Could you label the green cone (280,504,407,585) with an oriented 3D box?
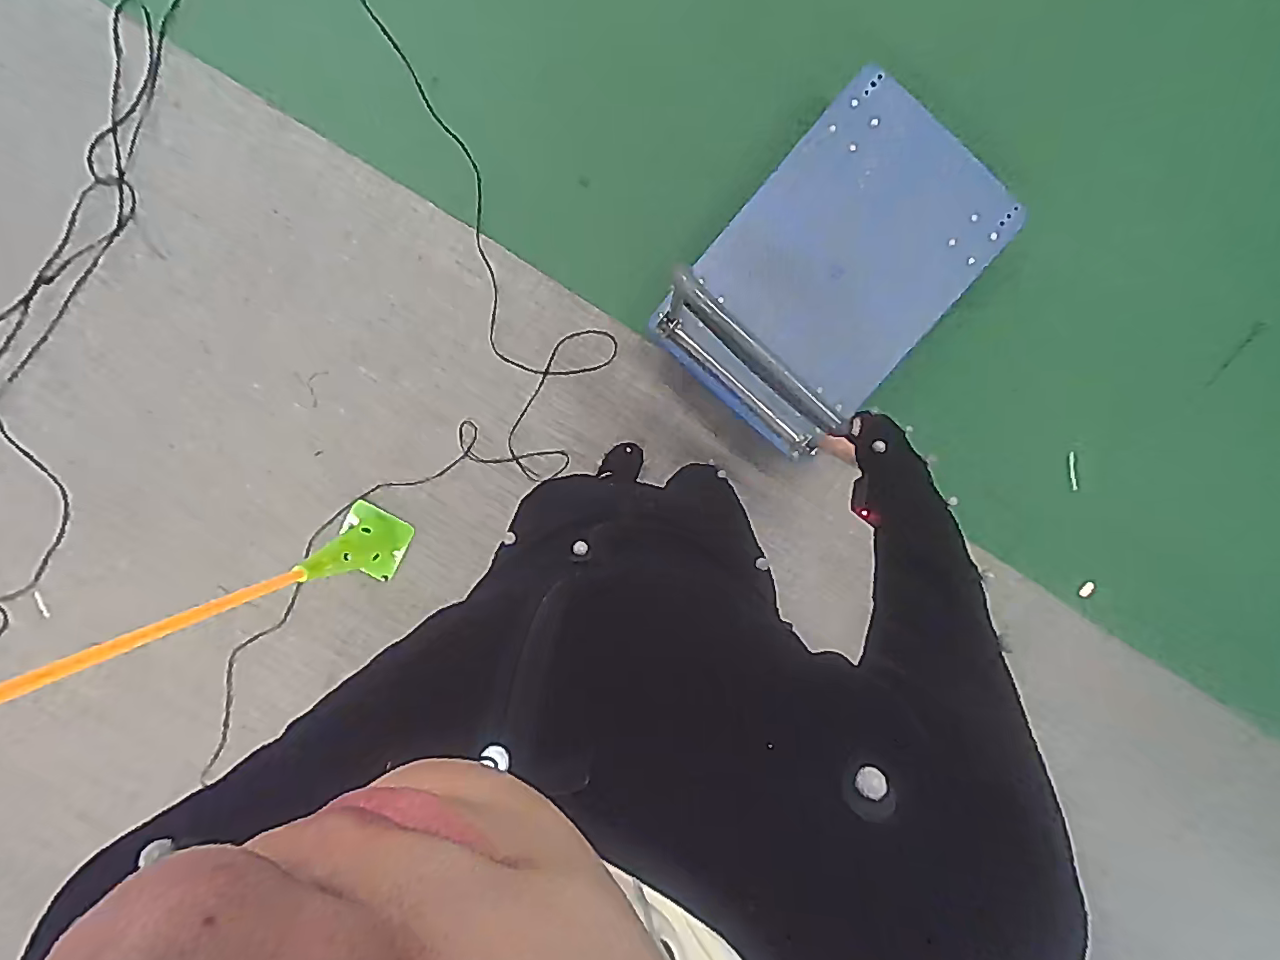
[{"bbox_3d":[-0.824,0.210,1.455,0.202,0.368,0.200,28,95,-1],"label":"green cone"}]
